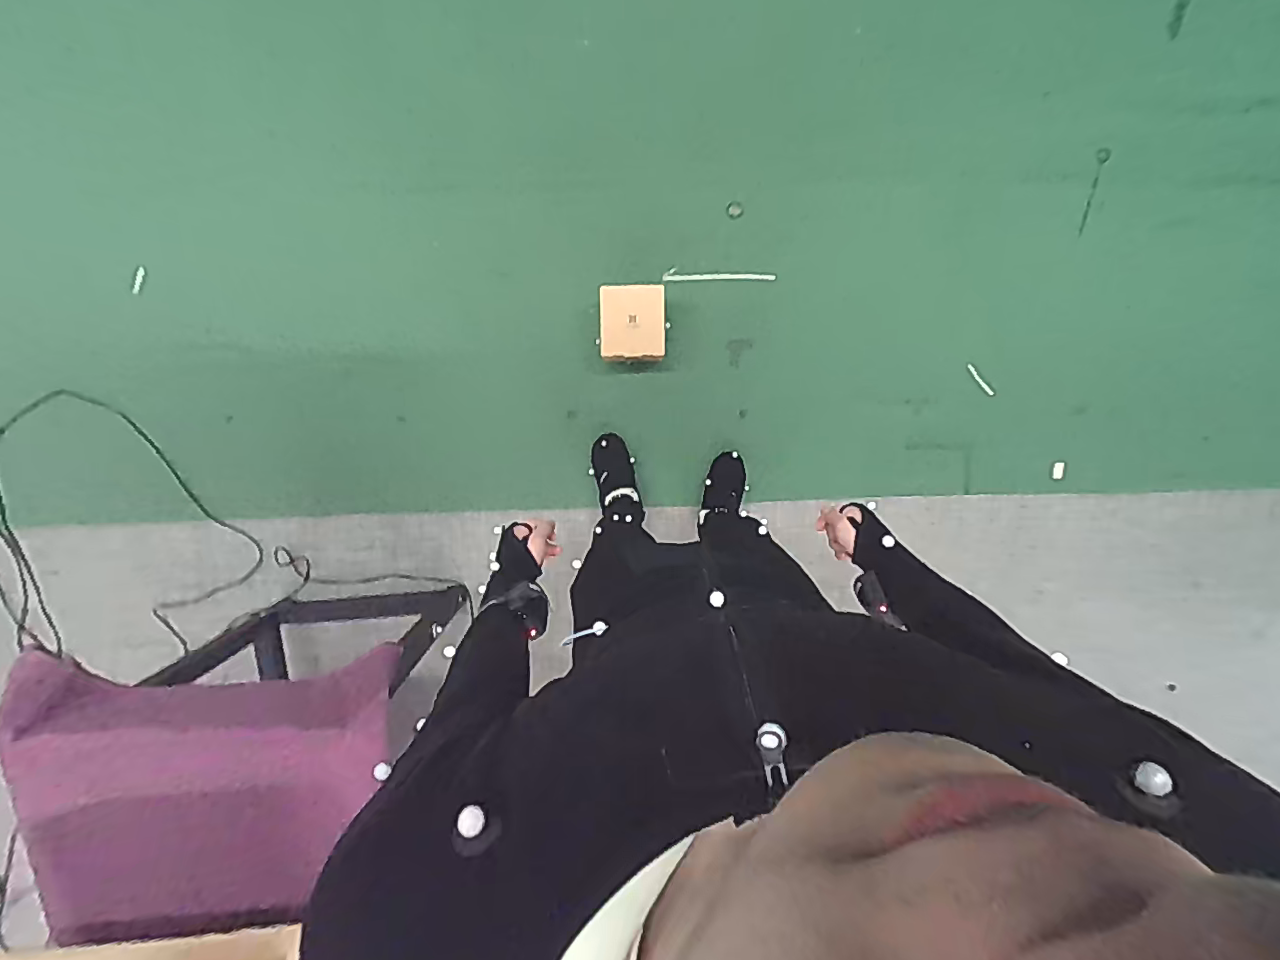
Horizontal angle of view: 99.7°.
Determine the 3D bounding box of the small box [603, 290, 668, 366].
[{"bbox_3d":[-0.013,-0.403,1.455,0.168,0.176,0.179,-2,99,0],"label":"small box"}]
